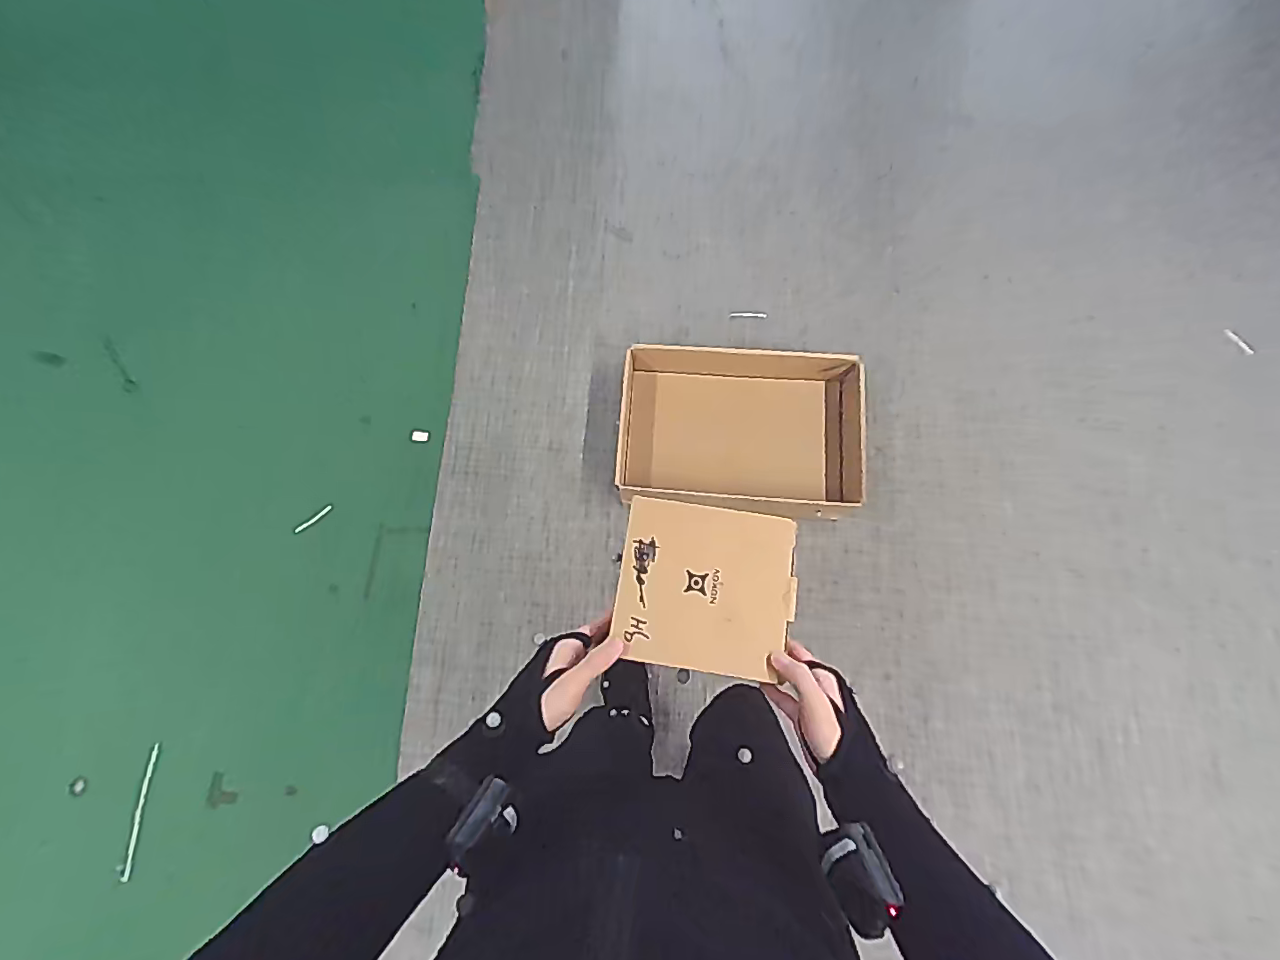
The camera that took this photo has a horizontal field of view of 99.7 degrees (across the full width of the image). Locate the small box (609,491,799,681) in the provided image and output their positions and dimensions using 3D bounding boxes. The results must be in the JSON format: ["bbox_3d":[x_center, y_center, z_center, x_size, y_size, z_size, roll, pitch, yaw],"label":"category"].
[{"bbox_3d":[0.064,0.125,0.614,0.179,0.176,0.168,9,71,1],"label":"small box"}]
